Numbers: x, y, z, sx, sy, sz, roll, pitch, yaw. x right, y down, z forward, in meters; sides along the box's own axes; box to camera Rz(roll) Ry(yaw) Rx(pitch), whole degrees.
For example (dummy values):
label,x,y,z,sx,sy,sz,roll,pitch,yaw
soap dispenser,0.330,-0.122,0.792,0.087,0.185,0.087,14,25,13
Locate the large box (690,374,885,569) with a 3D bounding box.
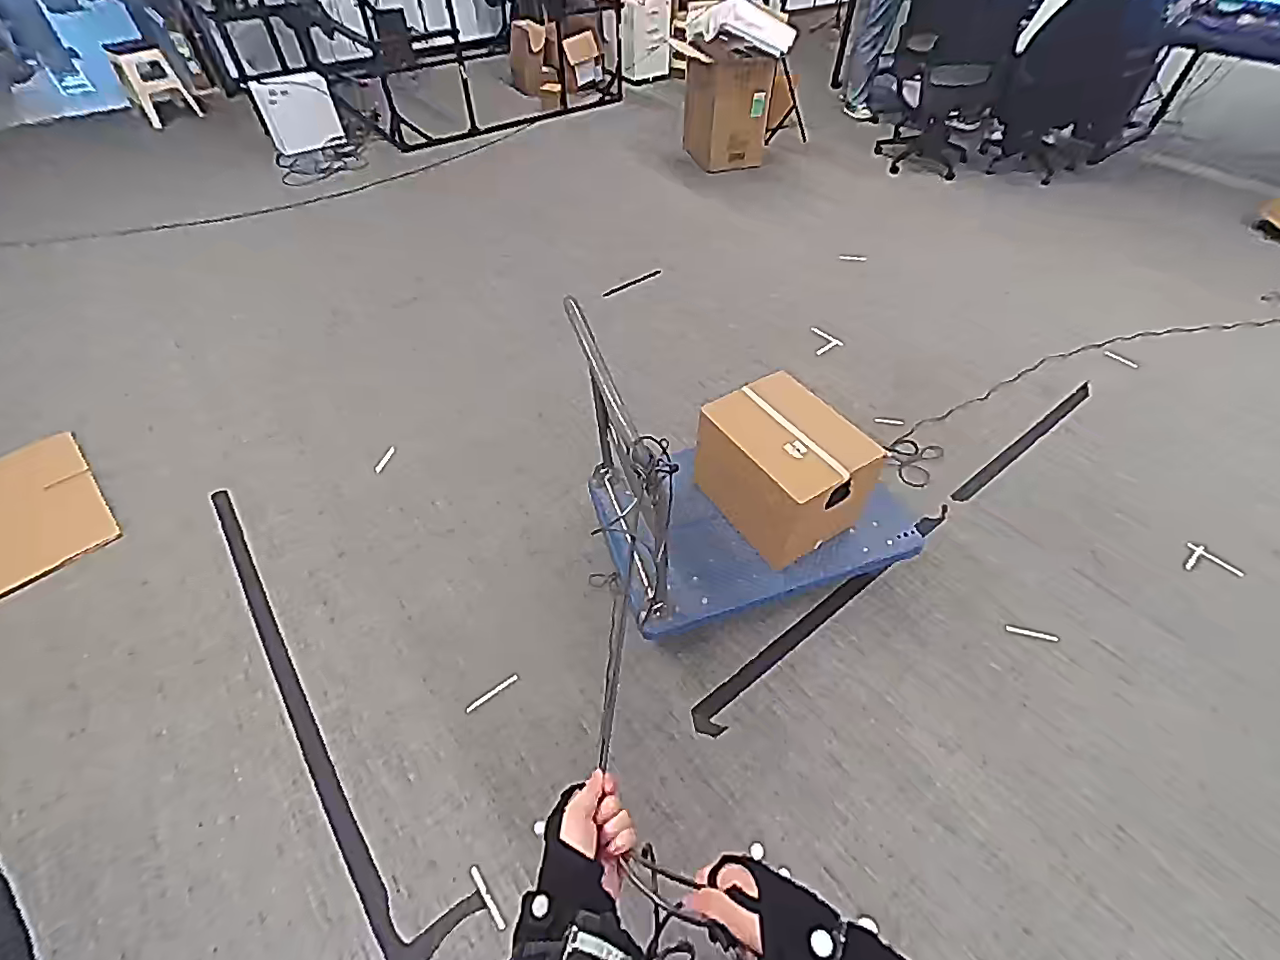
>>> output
label,x,y,z,sx,sy,sz,roll,pitch,yaw
large box,0.391,-0.030,1.546,0.320,0.320,0.408,-27,55,-20
